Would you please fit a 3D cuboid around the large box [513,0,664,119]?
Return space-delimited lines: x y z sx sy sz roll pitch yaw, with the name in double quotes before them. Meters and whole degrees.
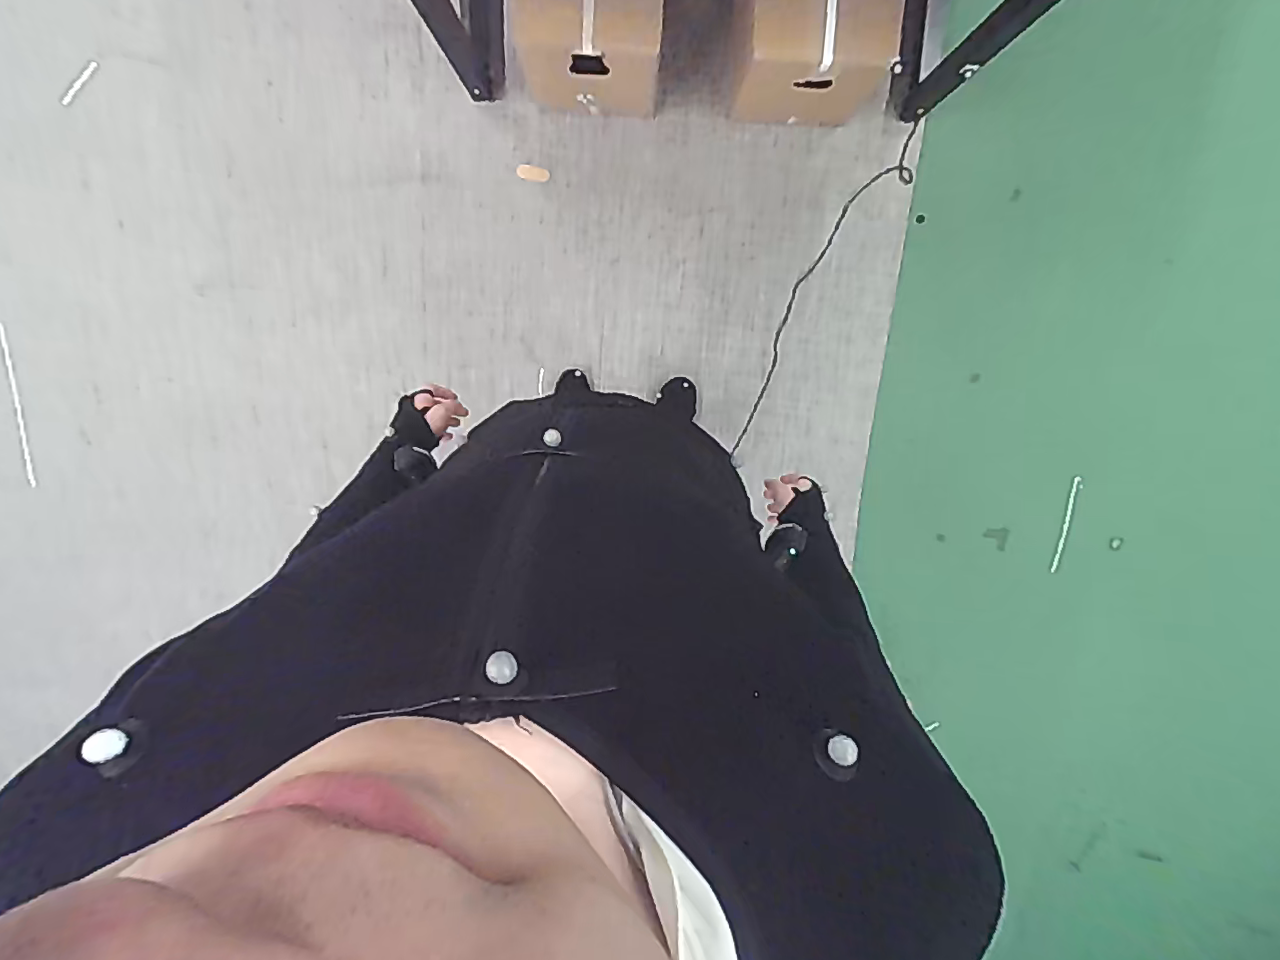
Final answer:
"large box" -0.102 -1.115 1.237 0.320 0.320 0.408 3 101 -2
